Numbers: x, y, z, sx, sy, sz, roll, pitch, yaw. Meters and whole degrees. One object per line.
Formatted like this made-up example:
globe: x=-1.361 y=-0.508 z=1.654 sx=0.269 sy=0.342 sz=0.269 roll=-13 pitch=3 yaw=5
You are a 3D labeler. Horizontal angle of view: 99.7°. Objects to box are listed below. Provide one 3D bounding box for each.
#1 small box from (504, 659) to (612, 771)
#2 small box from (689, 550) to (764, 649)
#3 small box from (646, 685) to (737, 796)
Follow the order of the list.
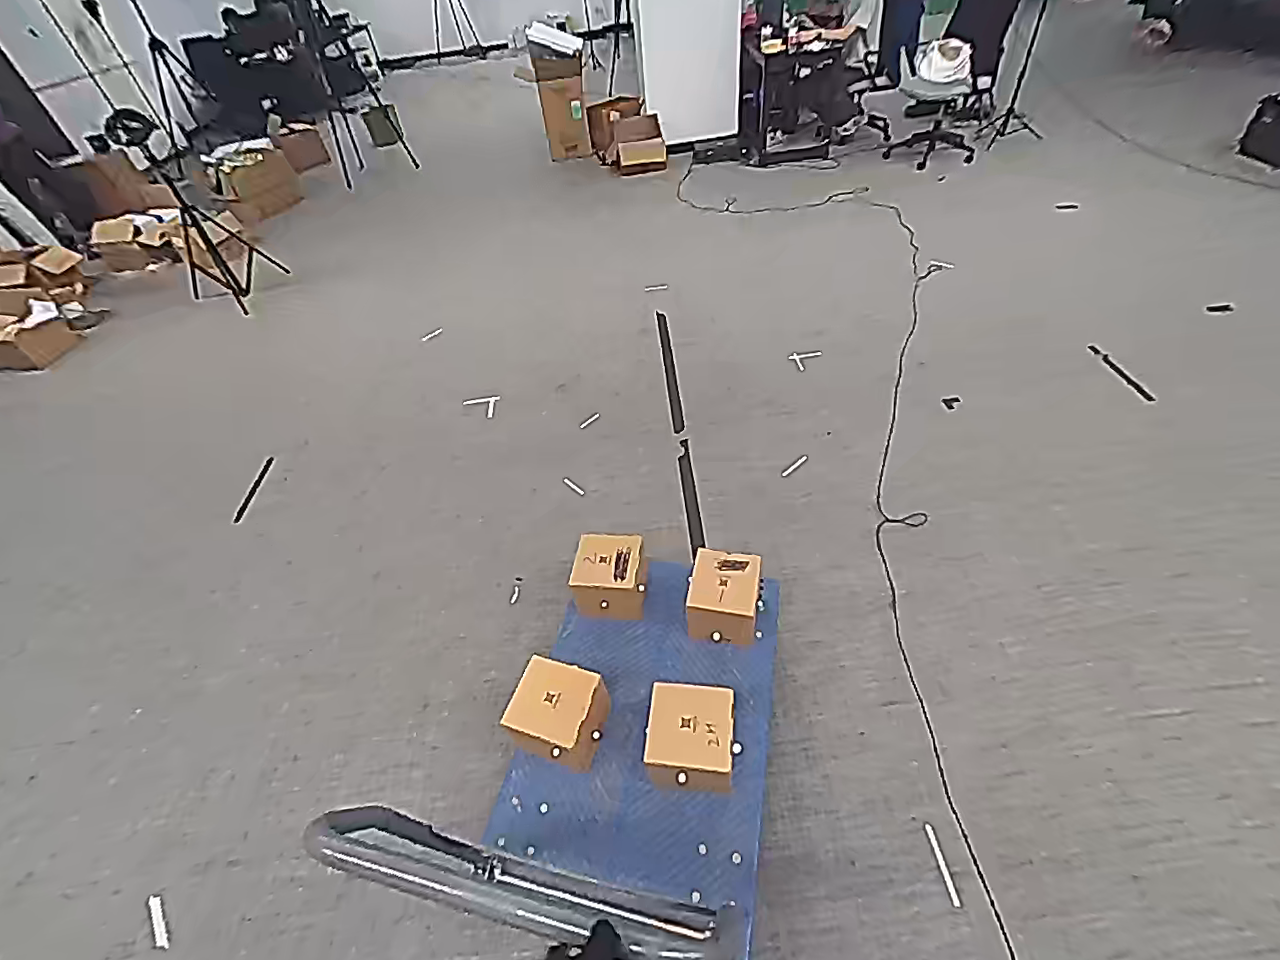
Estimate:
small box: x=-0.179 y=0.543 z=1.243 sx=0.179 sy=0.176 sz=0.168 roll=10 pitch=49 yaw=16
small box: x=0.225 y=0.310 z=1.399 sx=0.168 sy=0.176 sz=0.179 roll=6 pitch=49 yaw=15
small box: x=0.118 y=0.566 z=1.171 sx=0.179 sy=0.176 sz=0.168 roll=2 pitch=47 yaw=11
